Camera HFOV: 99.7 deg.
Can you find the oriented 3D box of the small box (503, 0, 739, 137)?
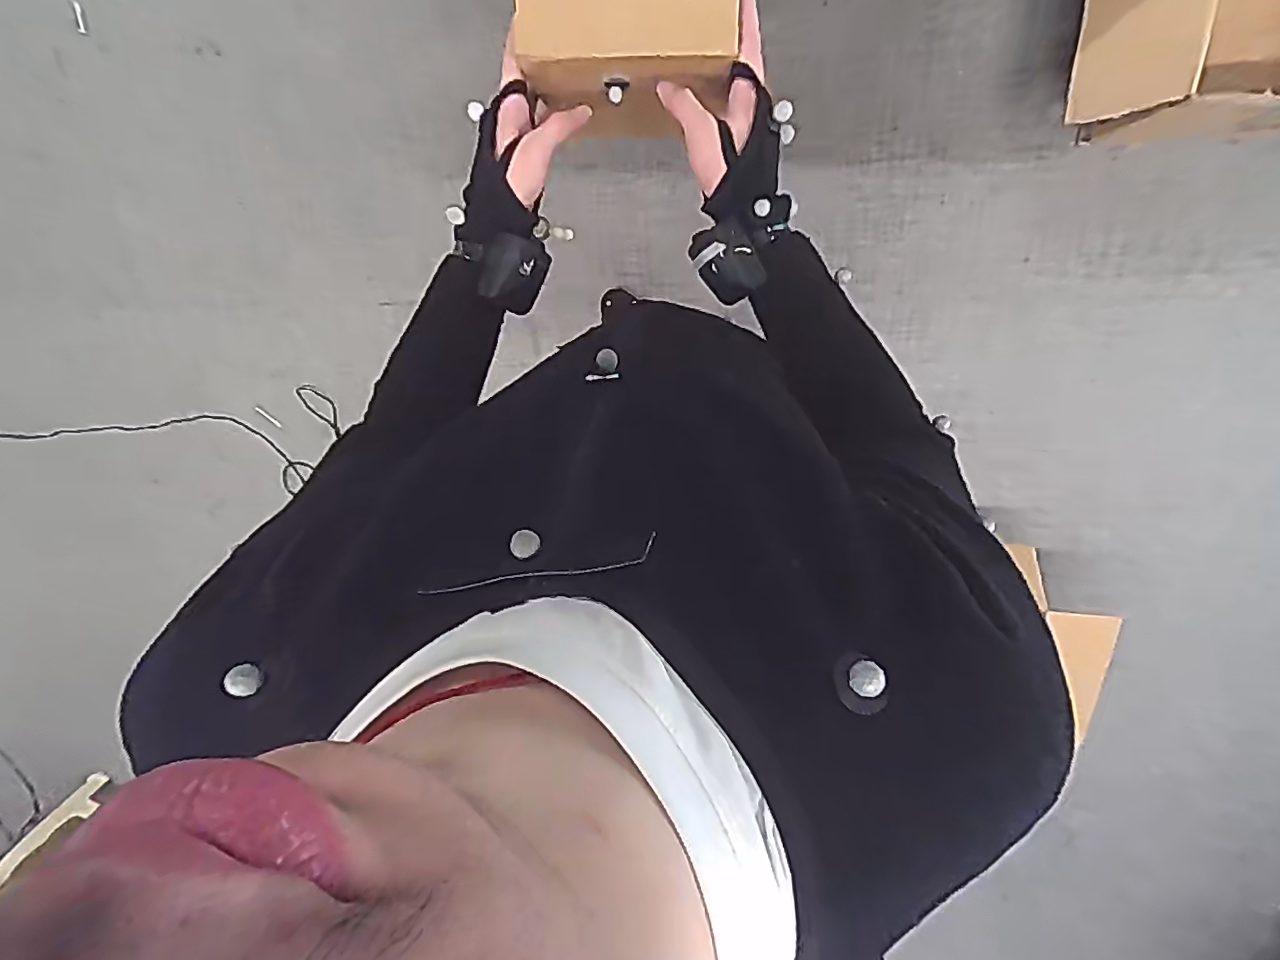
[{"bbox_3d":[-0.004,-0.422,0.471,0.179,0.176,0.168,7,106,5],"label":"small box"}]
